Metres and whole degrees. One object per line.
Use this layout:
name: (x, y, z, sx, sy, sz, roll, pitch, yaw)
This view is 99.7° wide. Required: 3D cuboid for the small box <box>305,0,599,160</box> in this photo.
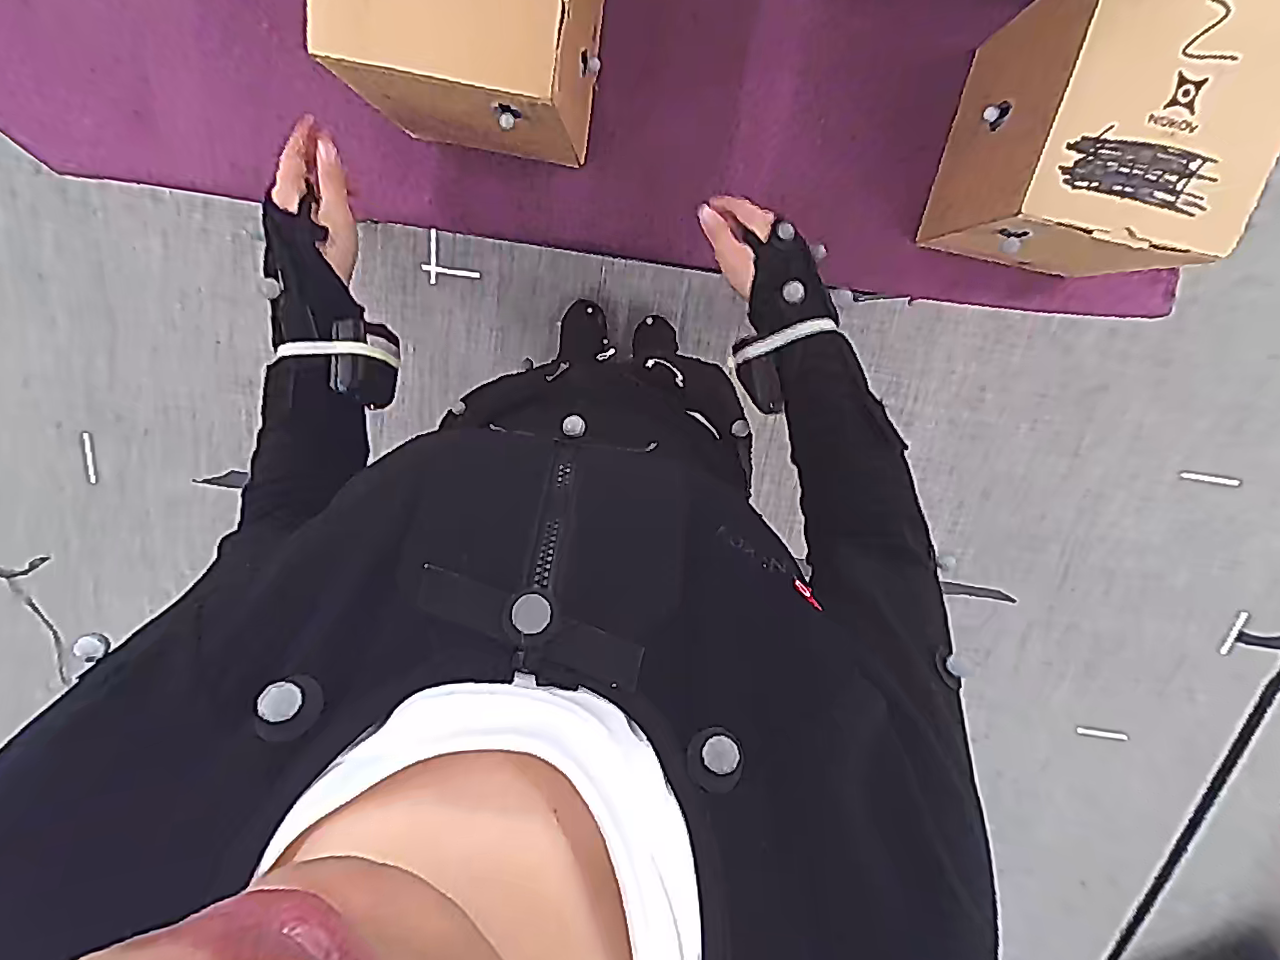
small box: (-0.135, -0.382, 0.436, 0.179, 0.176, 0.168, 9, 105, -3)
